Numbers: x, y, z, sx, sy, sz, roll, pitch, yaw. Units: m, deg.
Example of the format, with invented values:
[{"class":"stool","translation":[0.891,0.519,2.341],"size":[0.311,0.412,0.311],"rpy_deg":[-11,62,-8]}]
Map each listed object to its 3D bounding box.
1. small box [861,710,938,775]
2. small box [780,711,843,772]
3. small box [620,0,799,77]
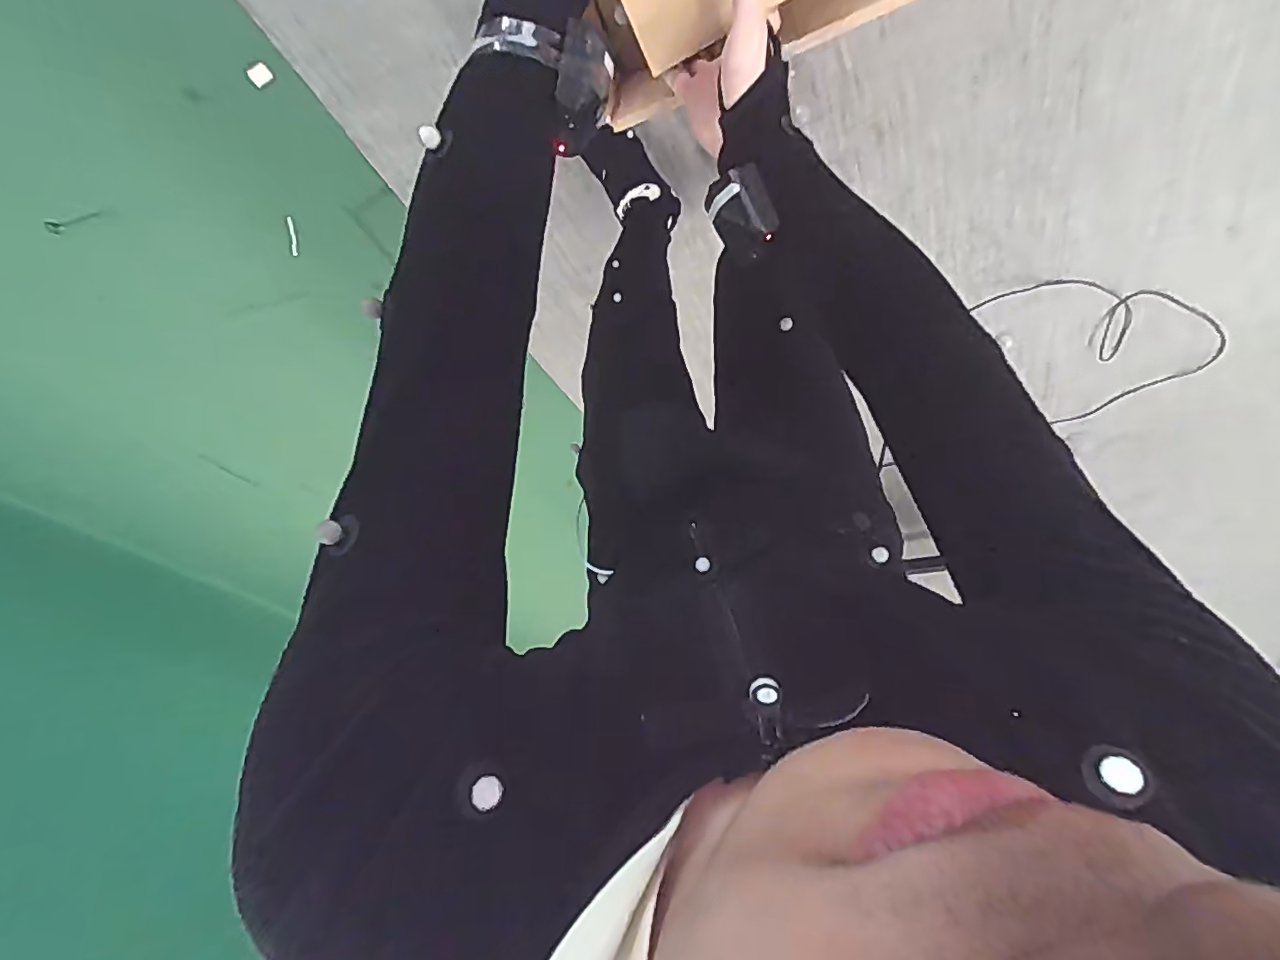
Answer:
[{"class":"small box","translation":[0.858,0.873,1.802],"size":[0.179,0.176,0.168],"rpy_deg":[32,139,-31]},{"class":"small box","translation":[0.614,0.939,1.944],"size":[0.179,0.176,0.168],"rpy_deg":[-17,138,29]},{"class":"small box","translation":[0.049,-0.503,0.454],"size":[0.168,0.176,0.179],"rpy_deg":[-14,144,23]}]
